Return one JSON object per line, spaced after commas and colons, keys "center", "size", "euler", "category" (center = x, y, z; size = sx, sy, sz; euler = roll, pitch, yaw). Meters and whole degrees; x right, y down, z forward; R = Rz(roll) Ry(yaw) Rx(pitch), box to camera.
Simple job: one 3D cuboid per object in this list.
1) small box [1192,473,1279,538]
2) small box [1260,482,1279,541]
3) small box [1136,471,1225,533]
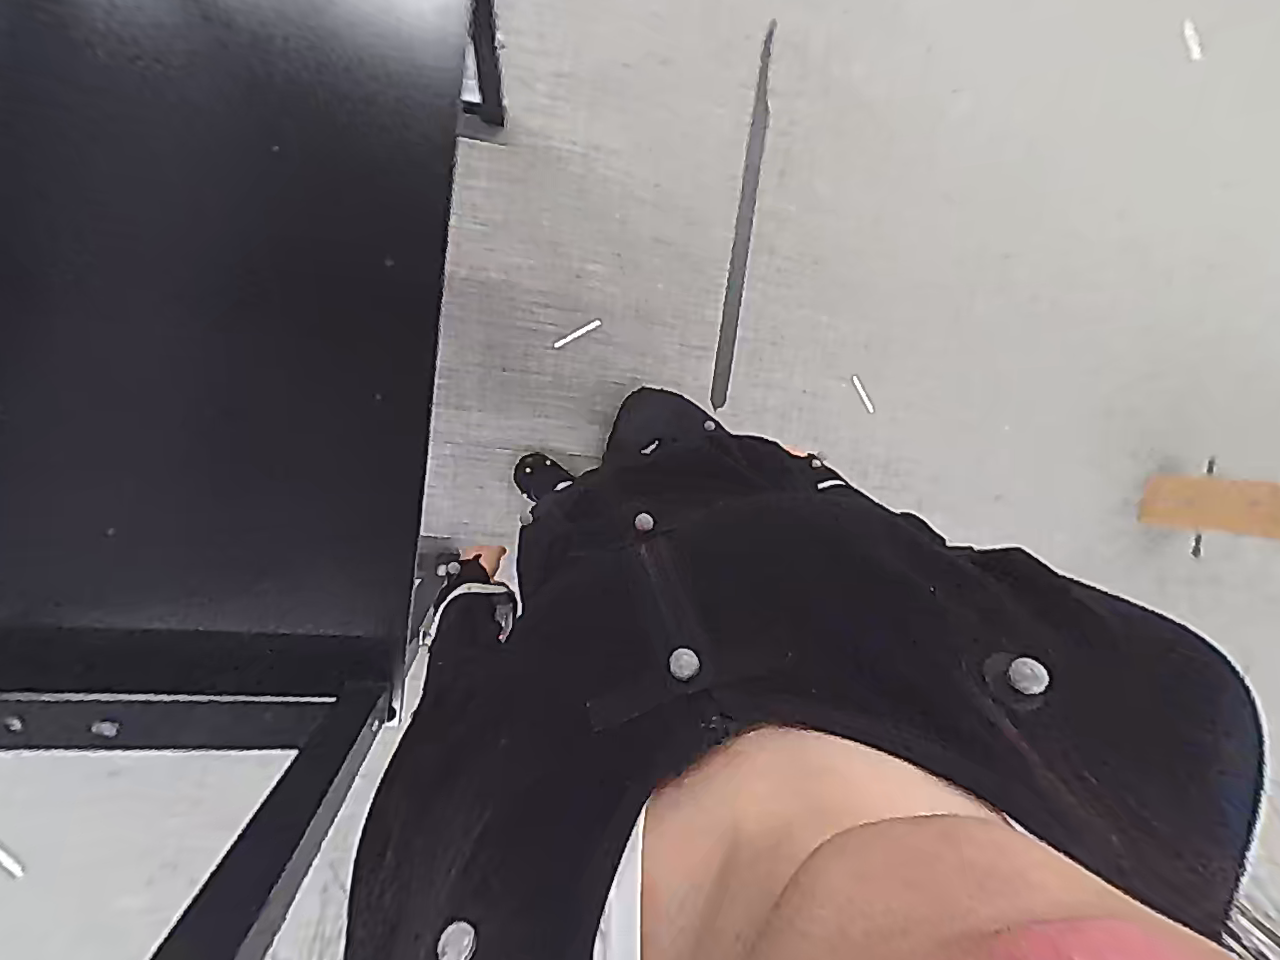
{"center": [1.843, 0.078, 1.640], "size": [0.168, 0.176, 0.179], "euler": [8, 93, -11], "category": "small box"}
{"center": [1.878, 0.100, 1.482], "size": [0.179, 0.176, 0.168], "euler": [8, 93, -11], "category": "small box"}
{"center": [1.813, 0.071, 1.801], "size": [0.168, 0.176, 0.179], "euler": [6, 94, -12], "category": "small box"}
